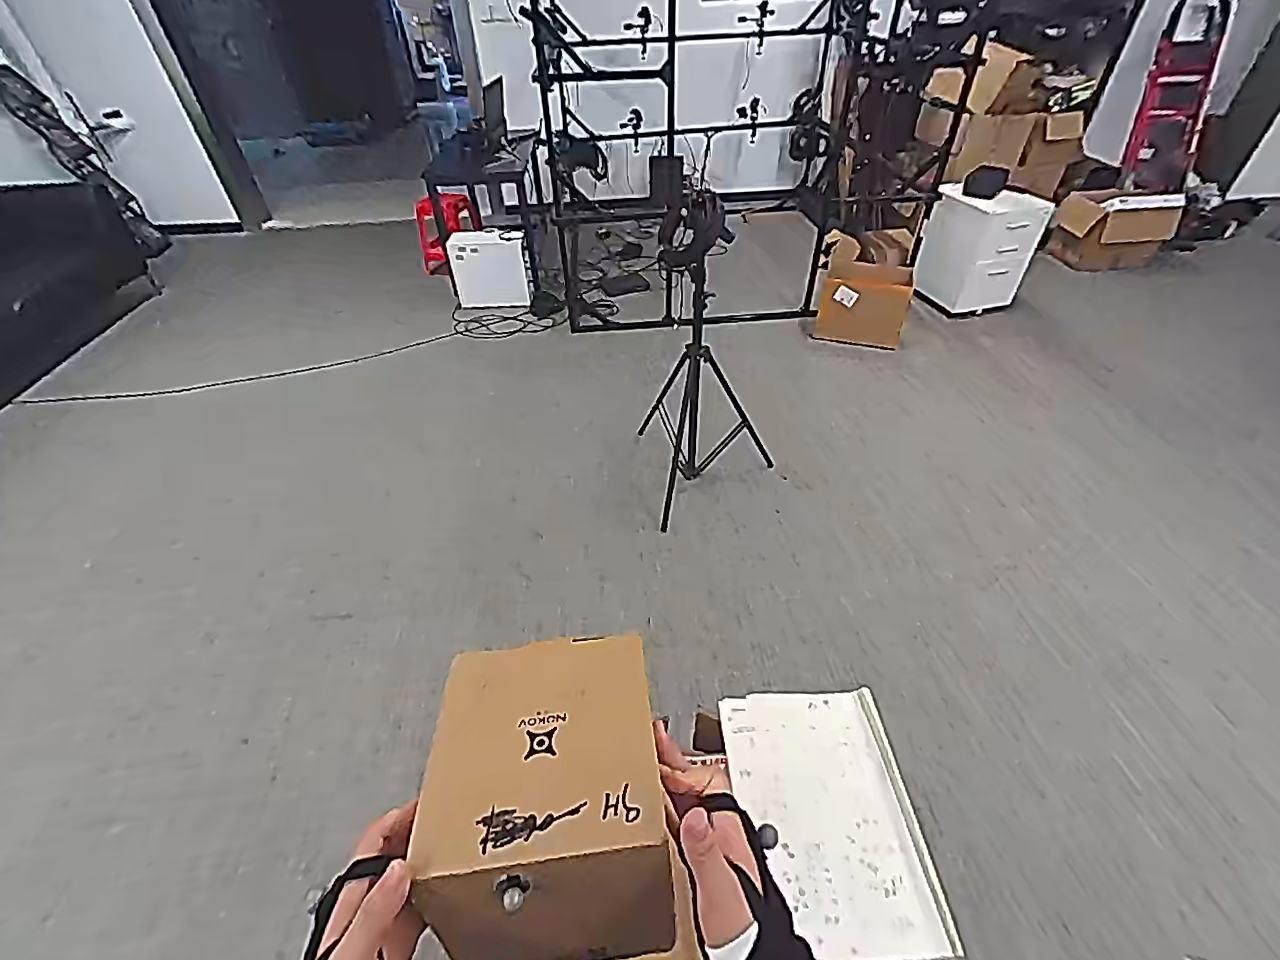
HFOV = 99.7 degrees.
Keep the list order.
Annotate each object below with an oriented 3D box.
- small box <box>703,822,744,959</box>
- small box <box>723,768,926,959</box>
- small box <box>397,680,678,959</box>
[{"bbox_3d":[0.196,0.593,0.766,0.179,0.176,0.168,-4,43,-5],"label":"small box"},{"bbox_3d":[0.201,0.473,0.654,0.168,0.176,0.179,-1,44,-3],"label":"small box"},{"bbox_3d":[-0.063,0.290,0.425,0.168,0.176,0.179,-6,31,-3],"label":"small box"}]
